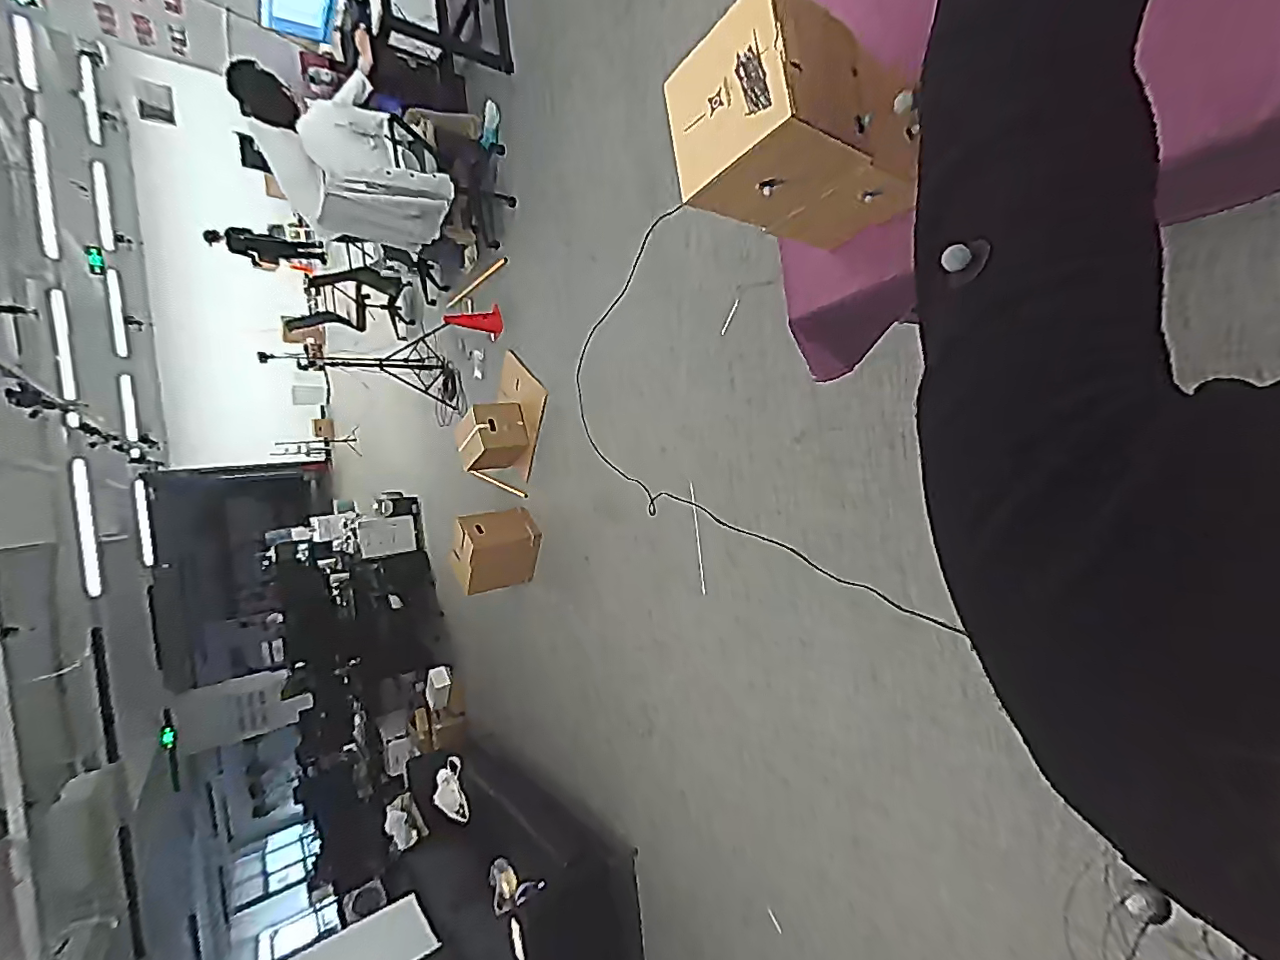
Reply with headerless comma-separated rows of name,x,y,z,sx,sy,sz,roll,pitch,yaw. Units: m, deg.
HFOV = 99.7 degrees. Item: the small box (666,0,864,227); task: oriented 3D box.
small box,0.161,-0.449,0.682,0.179,0.176,0.168,-13,85,53
